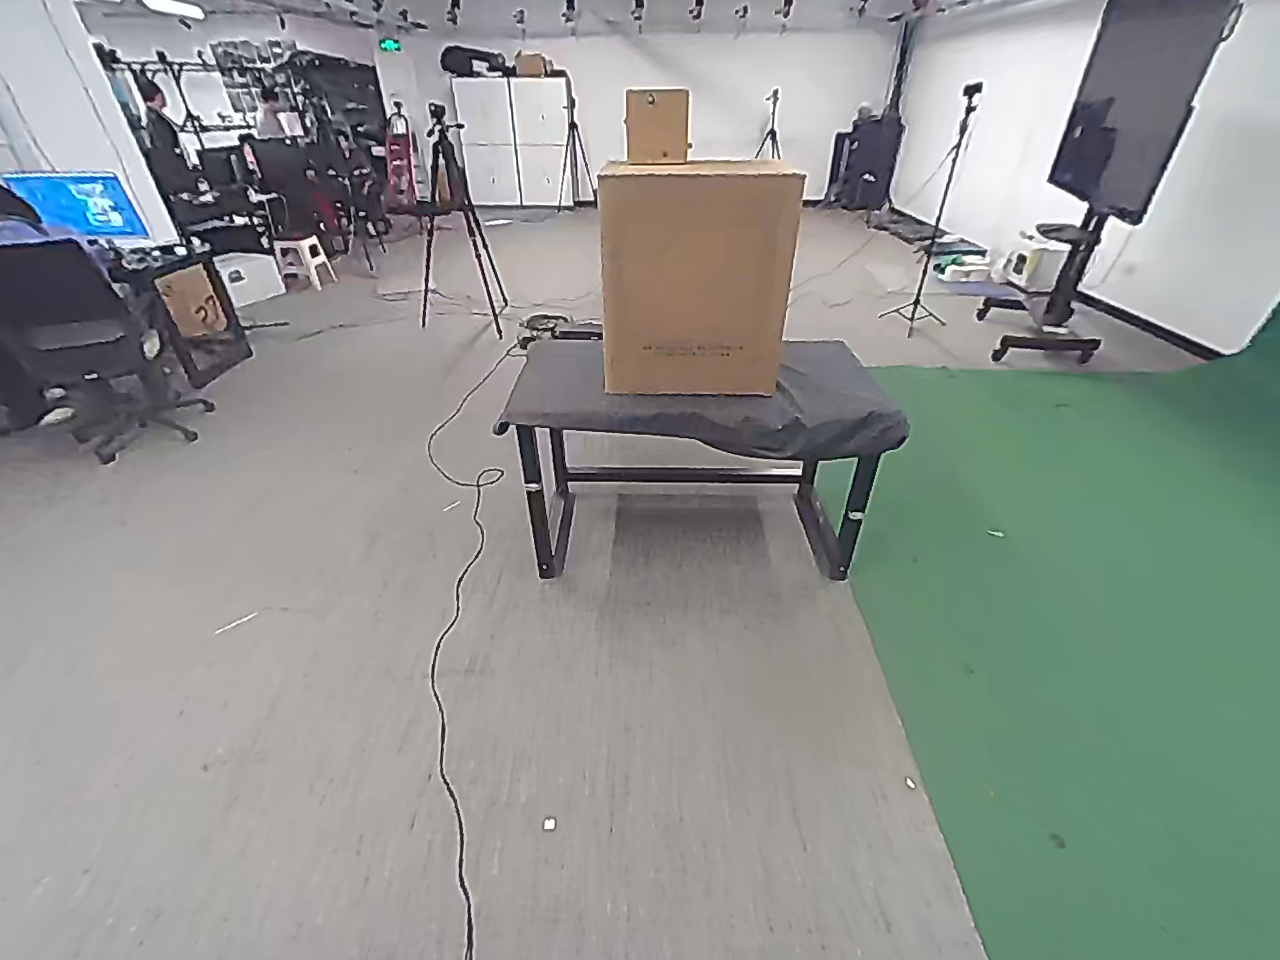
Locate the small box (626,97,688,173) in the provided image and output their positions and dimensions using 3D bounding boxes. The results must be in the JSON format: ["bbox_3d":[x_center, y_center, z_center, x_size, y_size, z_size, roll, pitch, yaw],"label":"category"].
[{"bbox_3d":[0.047,-0.964,1.515,0.168,0.176,0.179,0,33,2],"label":"small box"}]
